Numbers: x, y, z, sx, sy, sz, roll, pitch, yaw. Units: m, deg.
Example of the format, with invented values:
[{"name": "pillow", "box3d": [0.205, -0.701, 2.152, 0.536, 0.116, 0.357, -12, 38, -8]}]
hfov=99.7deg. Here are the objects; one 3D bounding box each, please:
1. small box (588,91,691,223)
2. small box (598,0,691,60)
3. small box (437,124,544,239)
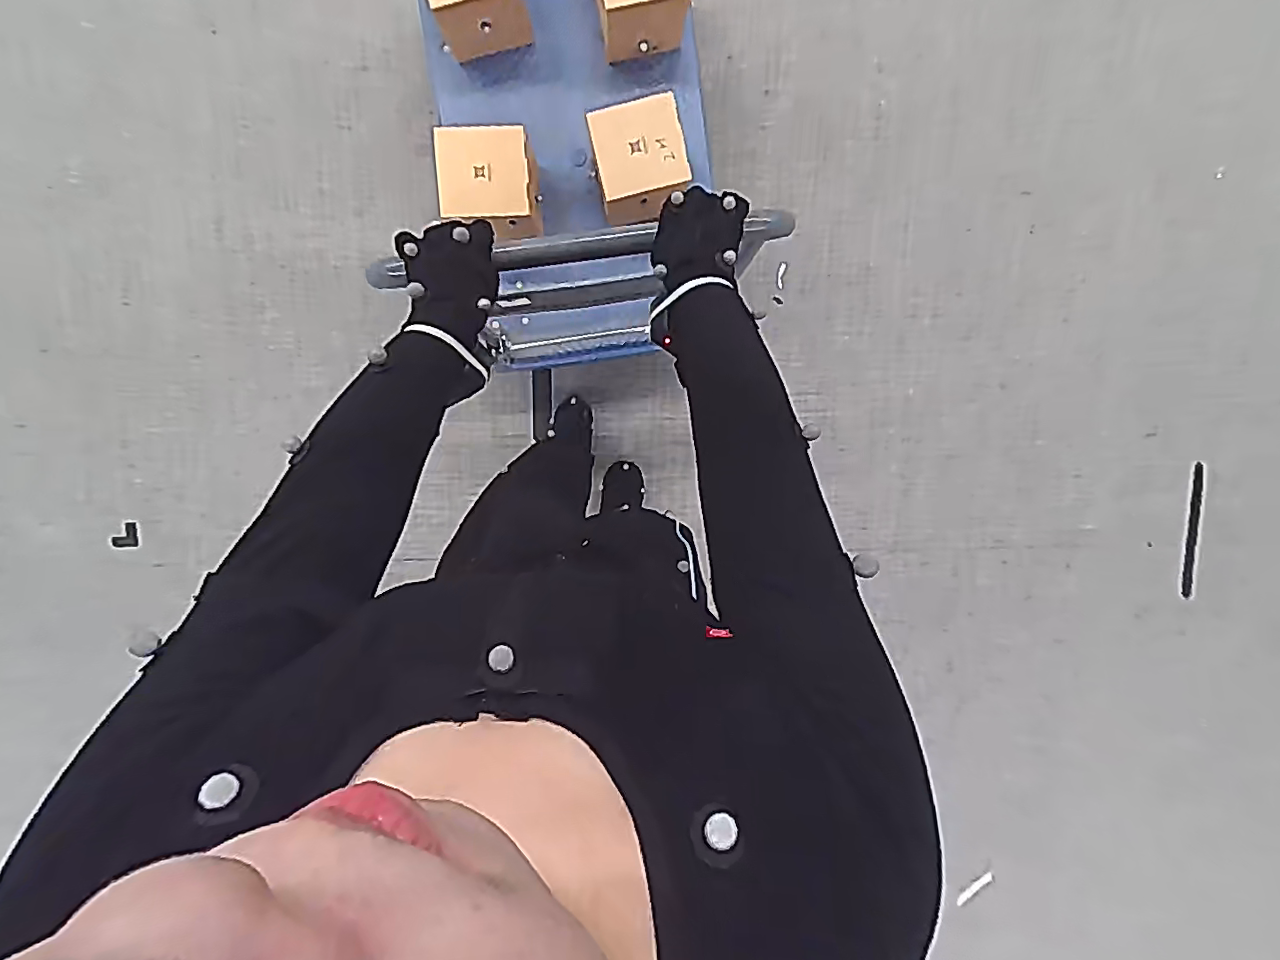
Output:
[{"name": "small box", "box3d": [0.000, -0.659, 1.126, 0.179, 0.176, 0.168, -13, 99, 1]}, {"name": "small box", "box3d": [-0.001, -0.993, 1.078, 0.168, 0.176, 0.179, -11, 99, 0]}, {"name": "small box", "box3d": [-0.303, -0.612, 1.127, 0.179, 0.176, 0.168, -3, 98, -2]}]
